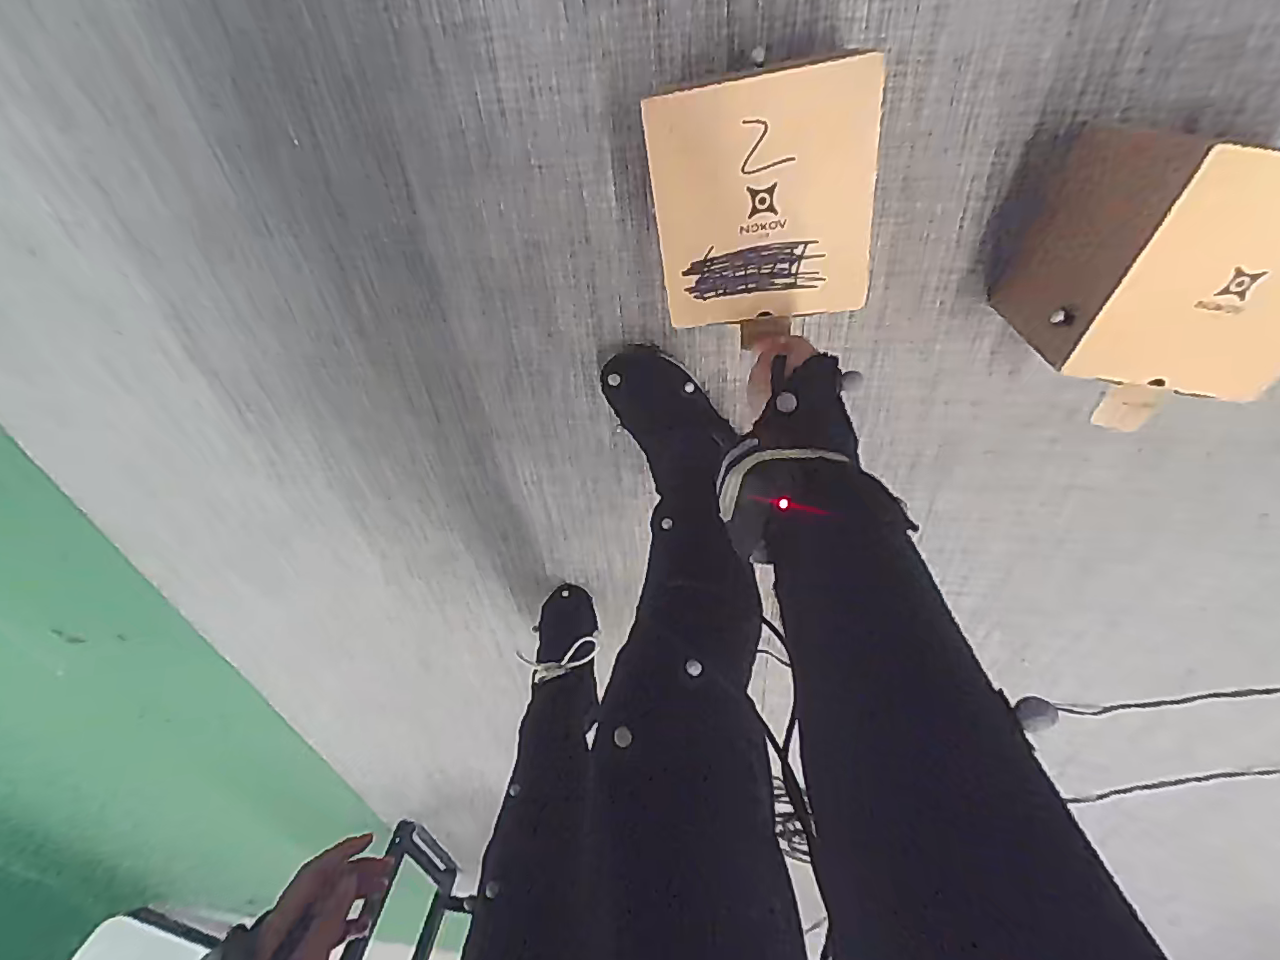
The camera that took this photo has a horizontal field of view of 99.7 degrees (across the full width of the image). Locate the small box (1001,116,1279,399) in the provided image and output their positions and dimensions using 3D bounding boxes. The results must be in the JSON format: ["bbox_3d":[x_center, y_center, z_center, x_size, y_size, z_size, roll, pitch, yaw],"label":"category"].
[{"bbox_3d":[0.457,-0.197,0.466,0.168,0.176,0.179,10,130,2],"label":"small box"}]
